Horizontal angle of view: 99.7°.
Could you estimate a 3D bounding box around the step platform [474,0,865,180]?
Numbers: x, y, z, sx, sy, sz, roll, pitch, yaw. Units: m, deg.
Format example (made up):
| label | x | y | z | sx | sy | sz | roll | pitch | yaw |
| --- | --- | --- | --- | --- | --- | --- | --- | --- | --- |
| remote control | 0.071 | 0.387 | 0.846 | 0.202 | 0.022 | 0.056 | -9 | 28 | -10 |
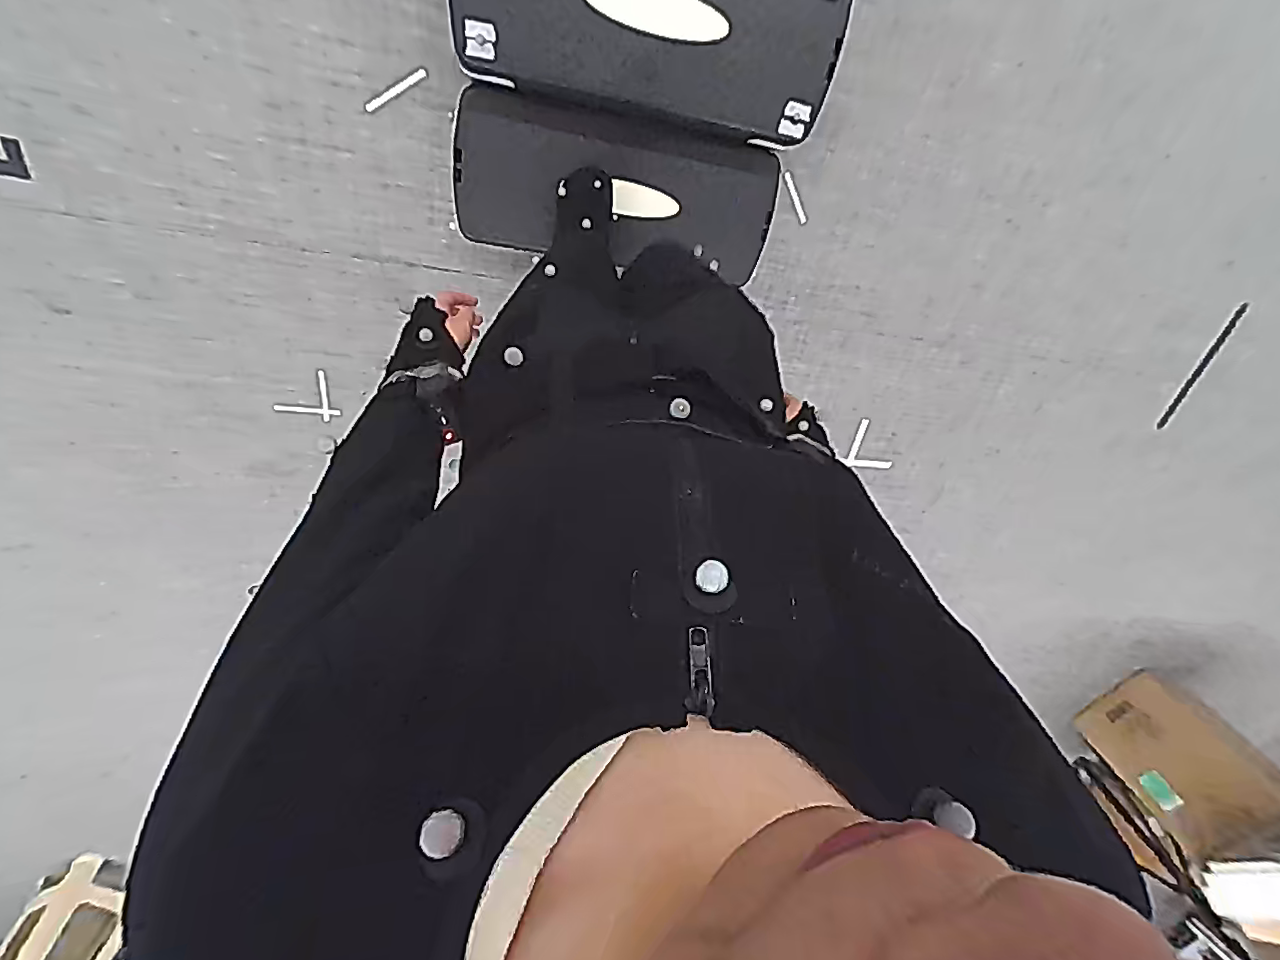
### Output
| label | x | y | z | sx | sy | sz | roll | pitch | yaw |
| --- | --- | --- | --- | --- | --- | --- | --- | --- | --- |
| step platform | 0.051 | -0.797 | 0.994 | 0.684 | 0.204 | 0.286 | 9 | 119 | -14 |
